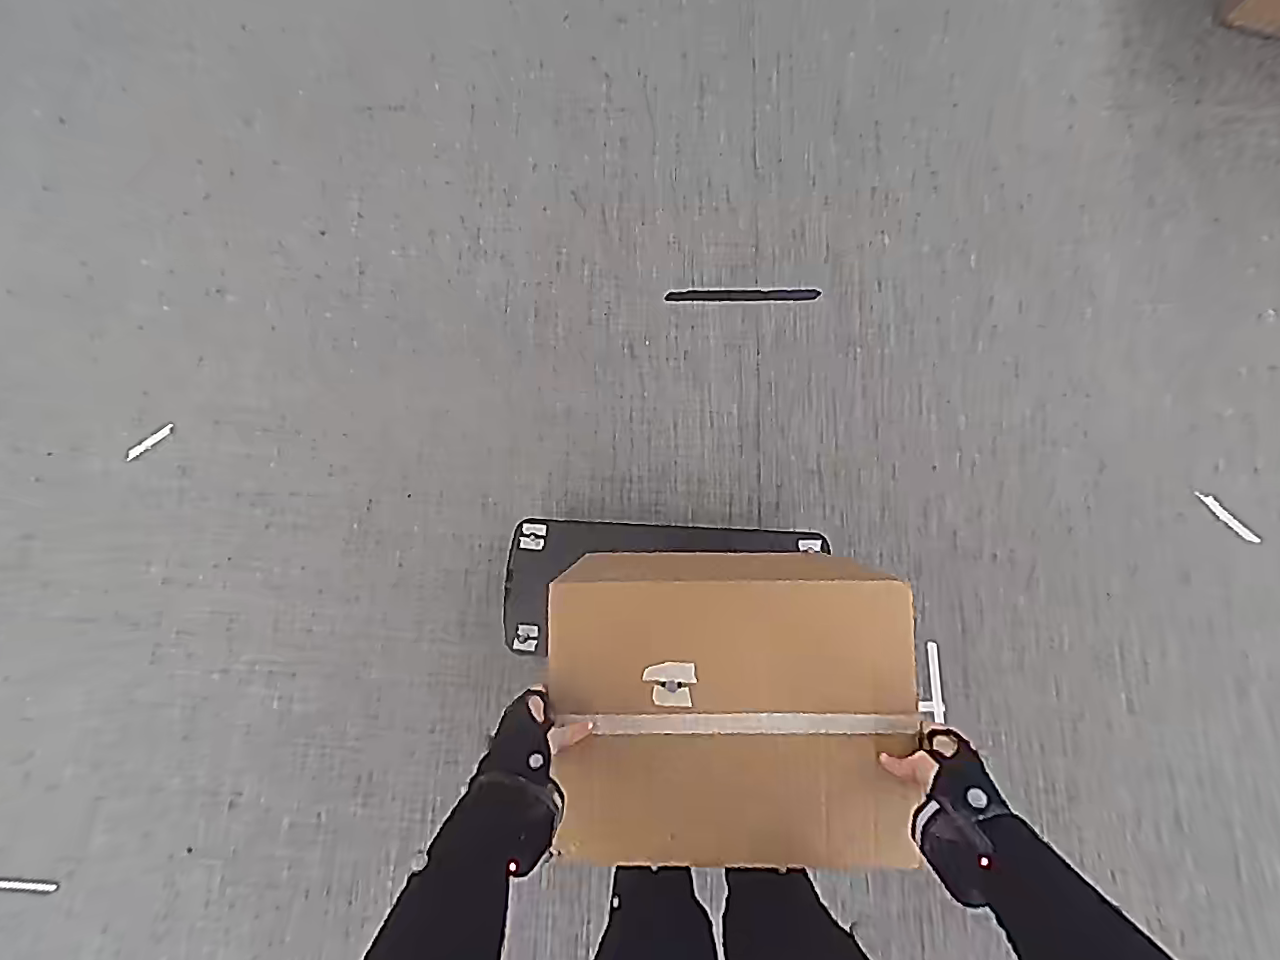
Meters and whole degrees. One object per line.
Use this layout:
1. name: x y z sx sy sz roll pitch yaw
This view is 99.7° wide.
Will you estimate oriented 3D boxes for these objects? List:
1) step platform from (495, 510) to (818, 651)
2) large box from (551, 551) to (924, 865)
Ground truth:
1. step platform: 0.045 0.246 1.158 0.684 0.204 0.286 7 80 4
2. large box: 0.112 0.270 0.742 0.408 0.320 0.320 -1 86 4
